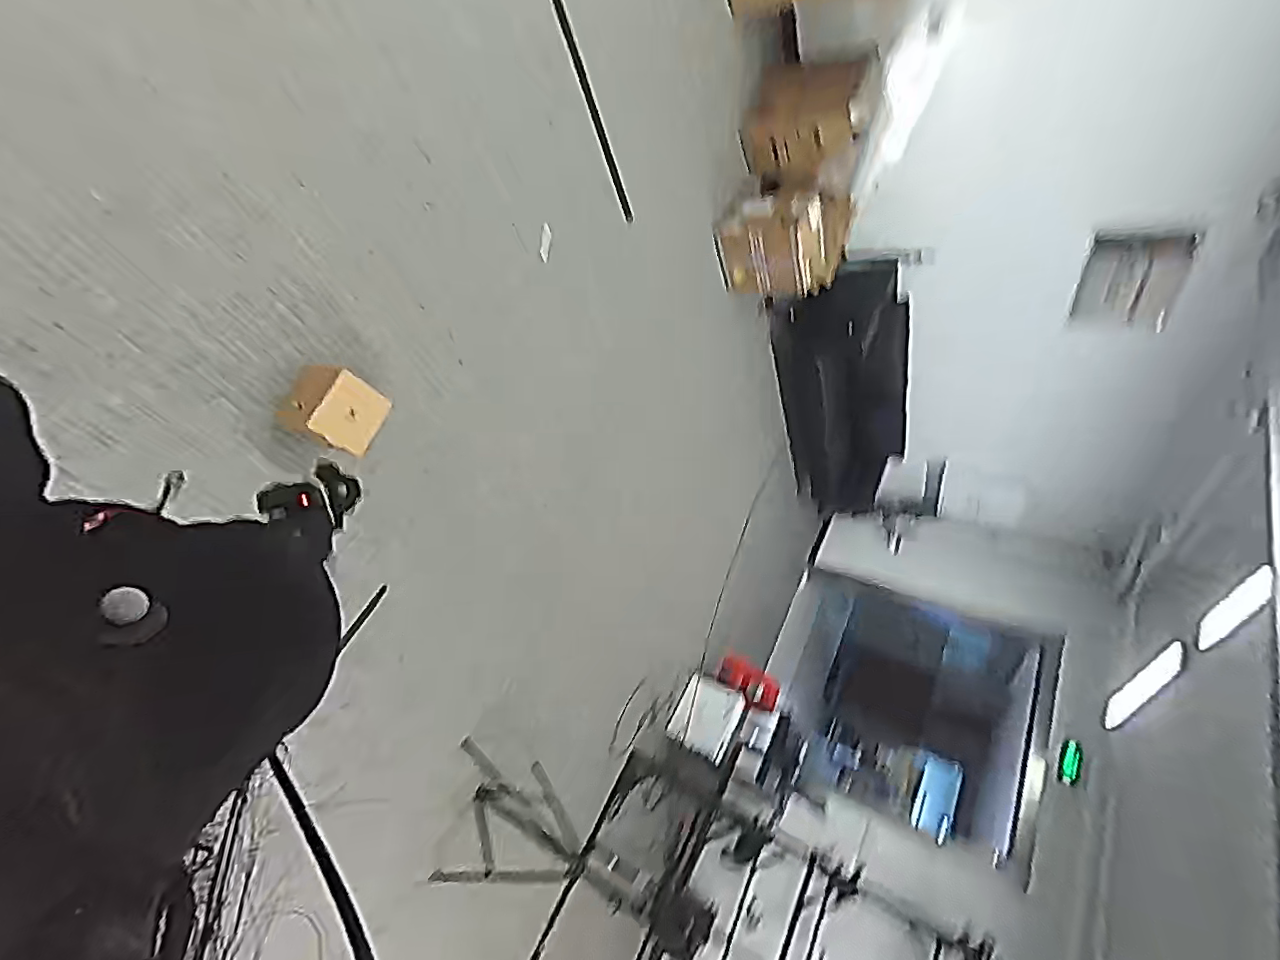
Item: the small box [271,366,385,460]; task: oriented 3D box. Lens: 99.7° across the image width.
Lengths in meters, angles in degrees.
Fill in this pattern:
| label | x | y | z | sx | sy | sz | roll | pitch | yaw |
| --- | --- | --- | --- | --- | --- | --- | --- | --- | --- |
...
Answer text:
| label | x | y | z | sx | sy | sz | roll | pitch | yaw |
| --- | --- | --- | --- | --- | --- | --- | --- | --- | --- |
| small box | -0.825 | -0.179 | 1.423 | 0.179 | 0.176 | 0.168 | -66 | 149 | -17 |
